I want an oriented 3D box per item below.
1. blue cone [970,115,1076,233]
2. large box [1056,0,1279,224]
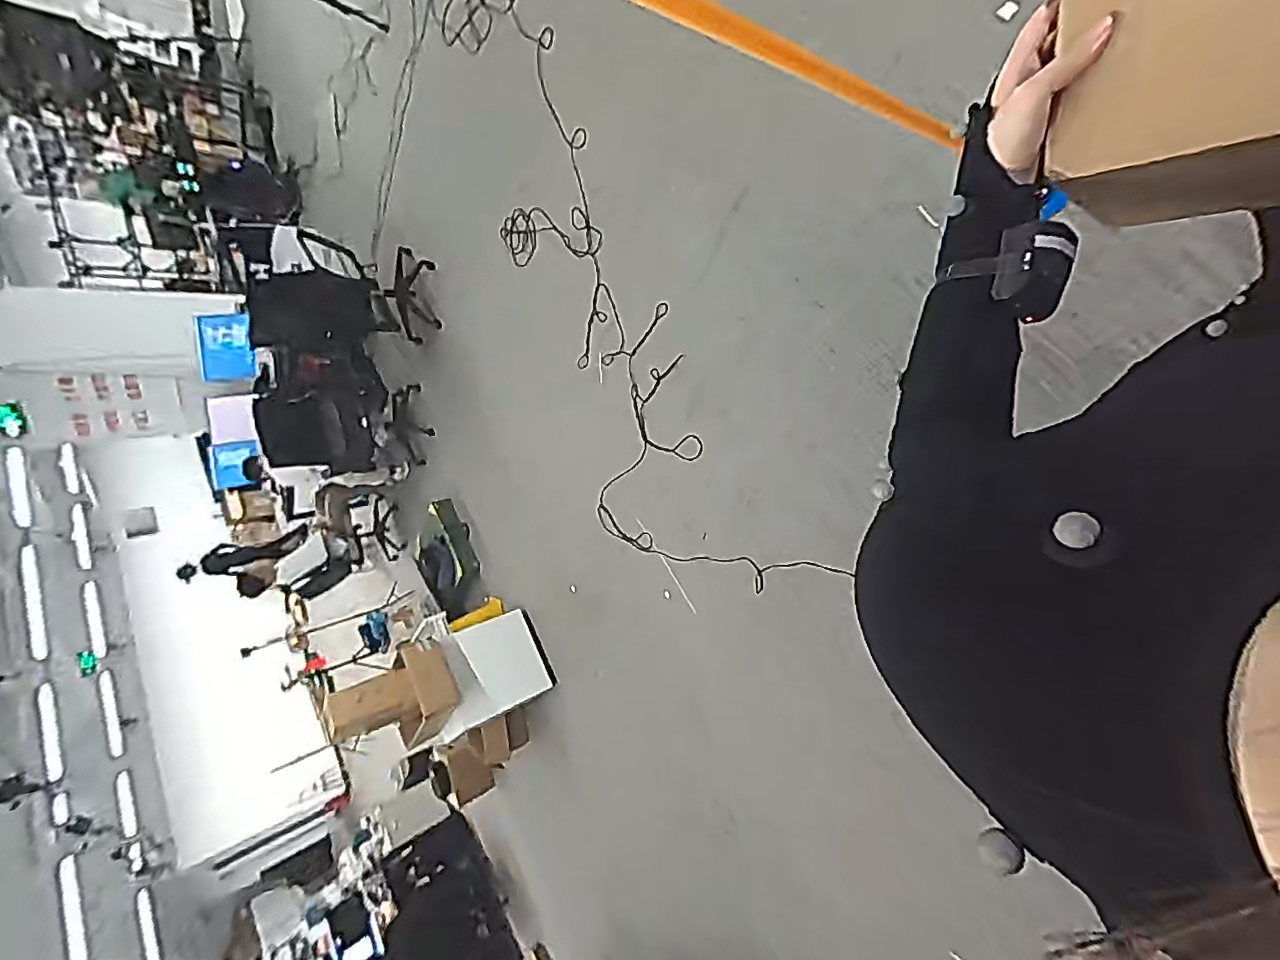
[{"bbox_3d":[0.734,-0.638,1.078,0.192,0.380,0.193,-41,70,45],"label":"blue cone"},{"bbox_3d":[0.557,-0.398,0.357,0.408,0.320,0.320,8,107,44],"label":"large box"}]
